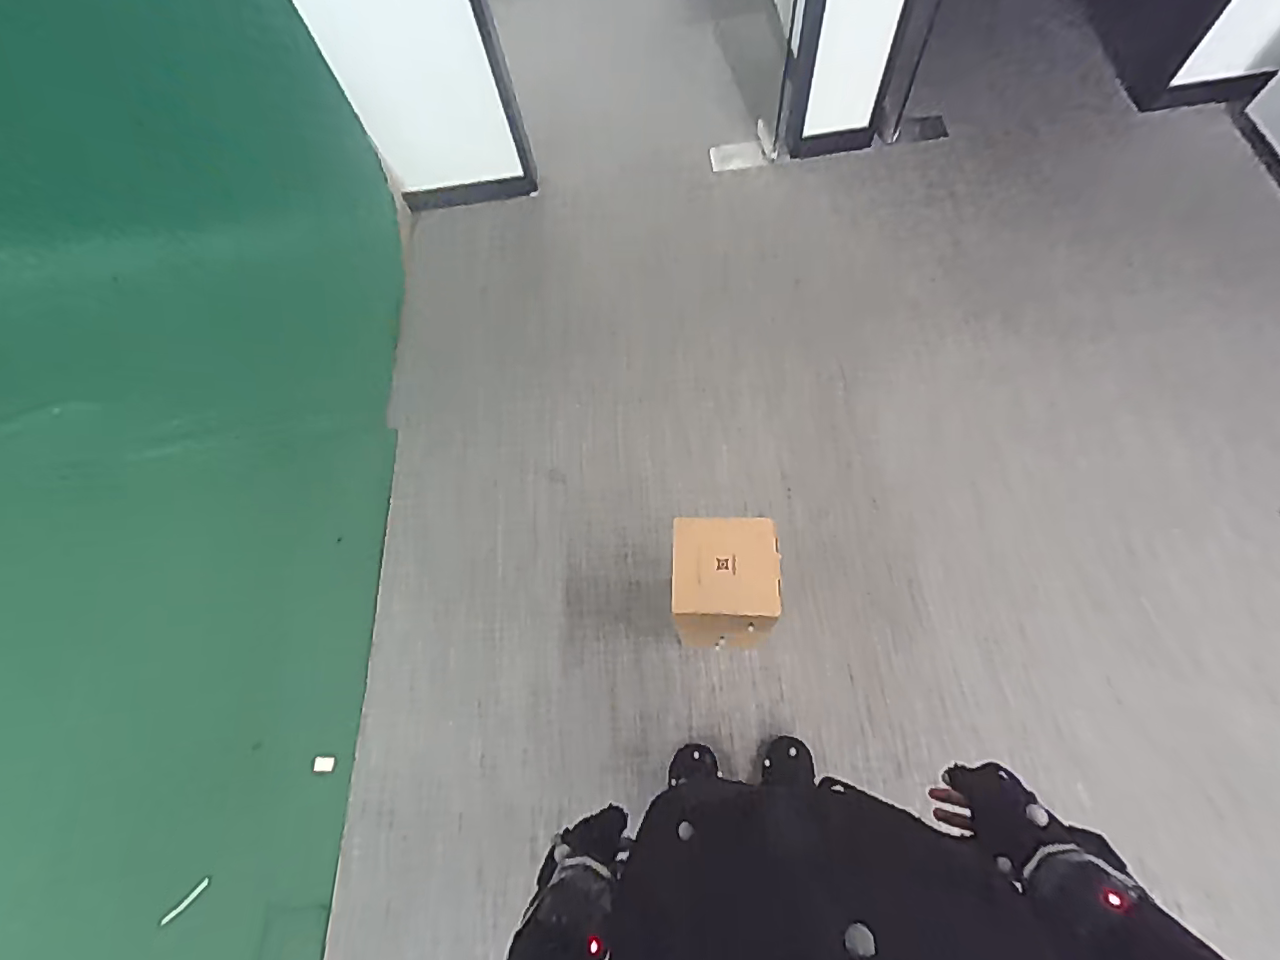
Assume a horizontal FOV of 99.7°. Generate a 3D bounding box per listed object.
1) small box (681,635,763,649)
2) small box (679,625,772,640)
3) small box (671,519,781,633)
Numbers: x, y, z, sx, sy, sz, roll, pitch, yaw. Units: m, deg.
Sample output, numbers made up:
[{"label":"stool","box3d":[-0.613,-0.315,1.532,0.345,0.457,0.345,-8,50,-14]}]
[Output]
[{"label":"small box","box3d":[0.187,0.299,1.263,0.179,0.176,0.168,-1,66,7]},{"label":"small box","box3d":[0.169,0.237,1.116,0.179,0.176,0.168,-3,68,6]},{"label":"small box","box3d":[0.149,0.175,0.964,0.179,0.176,0.168,-1,66,8]}]
